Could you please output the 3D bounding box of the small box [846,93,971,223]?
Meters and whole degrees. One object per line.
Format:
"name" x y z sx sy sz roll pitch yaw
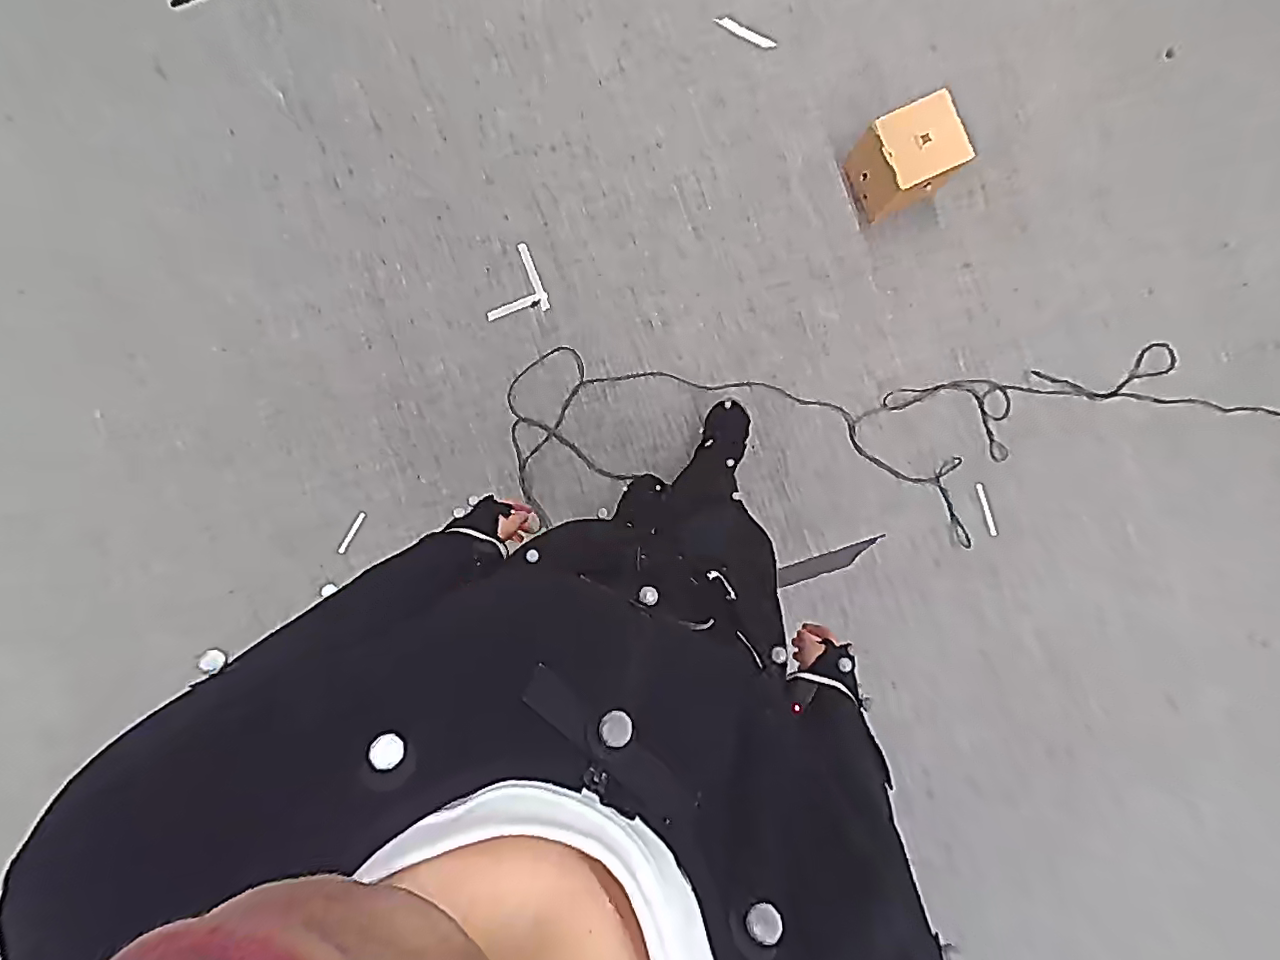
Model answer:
"small box" 0.615 -0.739 1.258 0.179 0.176 0.168 -25 91 2
